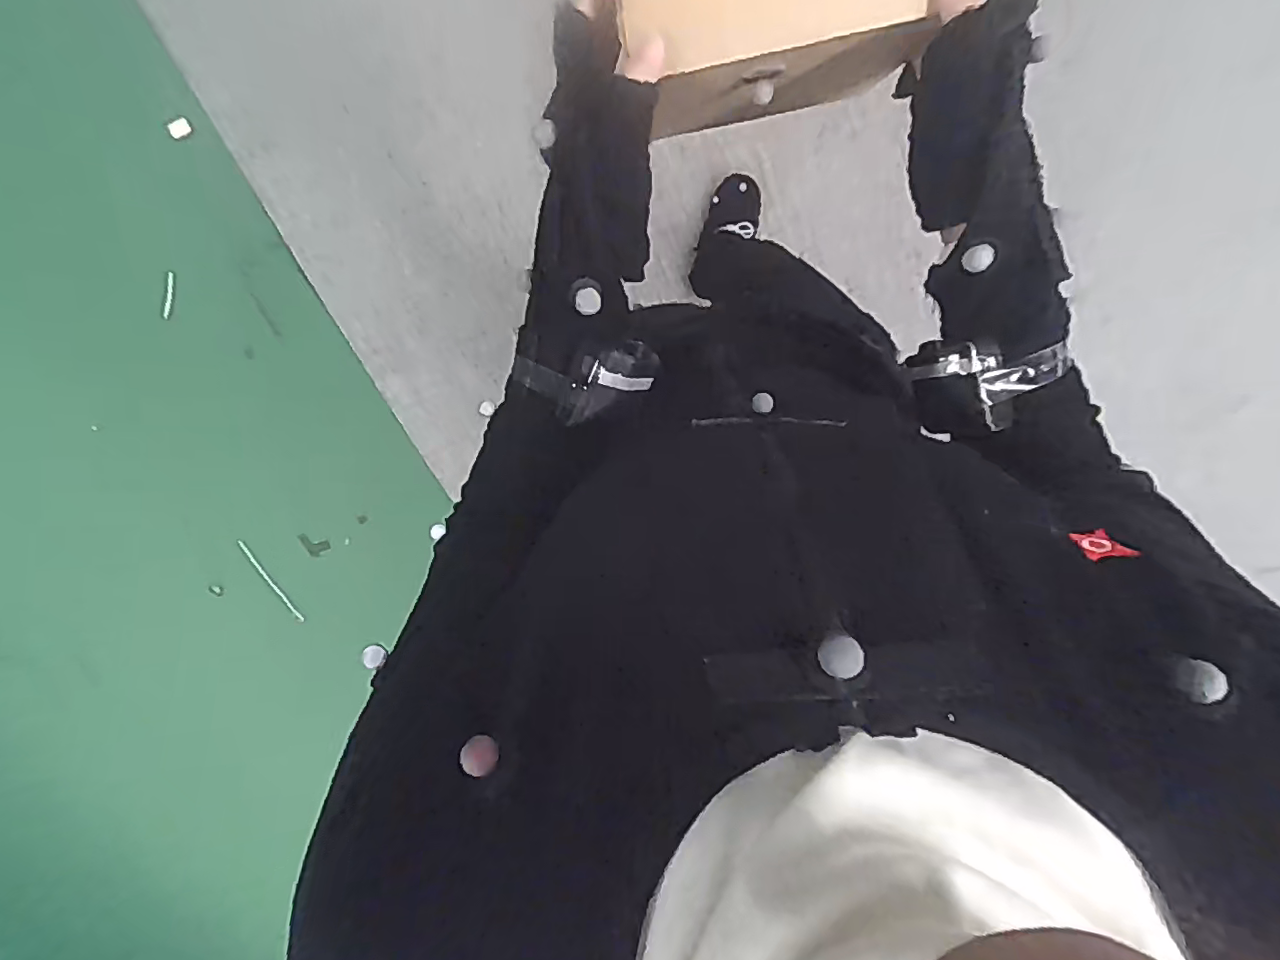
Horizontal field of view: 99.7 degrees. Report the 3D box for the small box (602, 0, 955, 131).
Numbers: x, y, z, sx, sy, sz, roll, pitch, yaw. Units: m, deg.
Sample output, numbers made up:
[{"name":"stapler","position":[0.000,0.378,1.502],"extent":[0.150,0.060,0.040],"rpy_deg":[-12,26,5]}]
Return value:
[{"name":"small box","position":[0.065,-0.324,0.312],"extent":[0.179,0.176,0.168],"rpy_deg":[-8,113,7]}]
